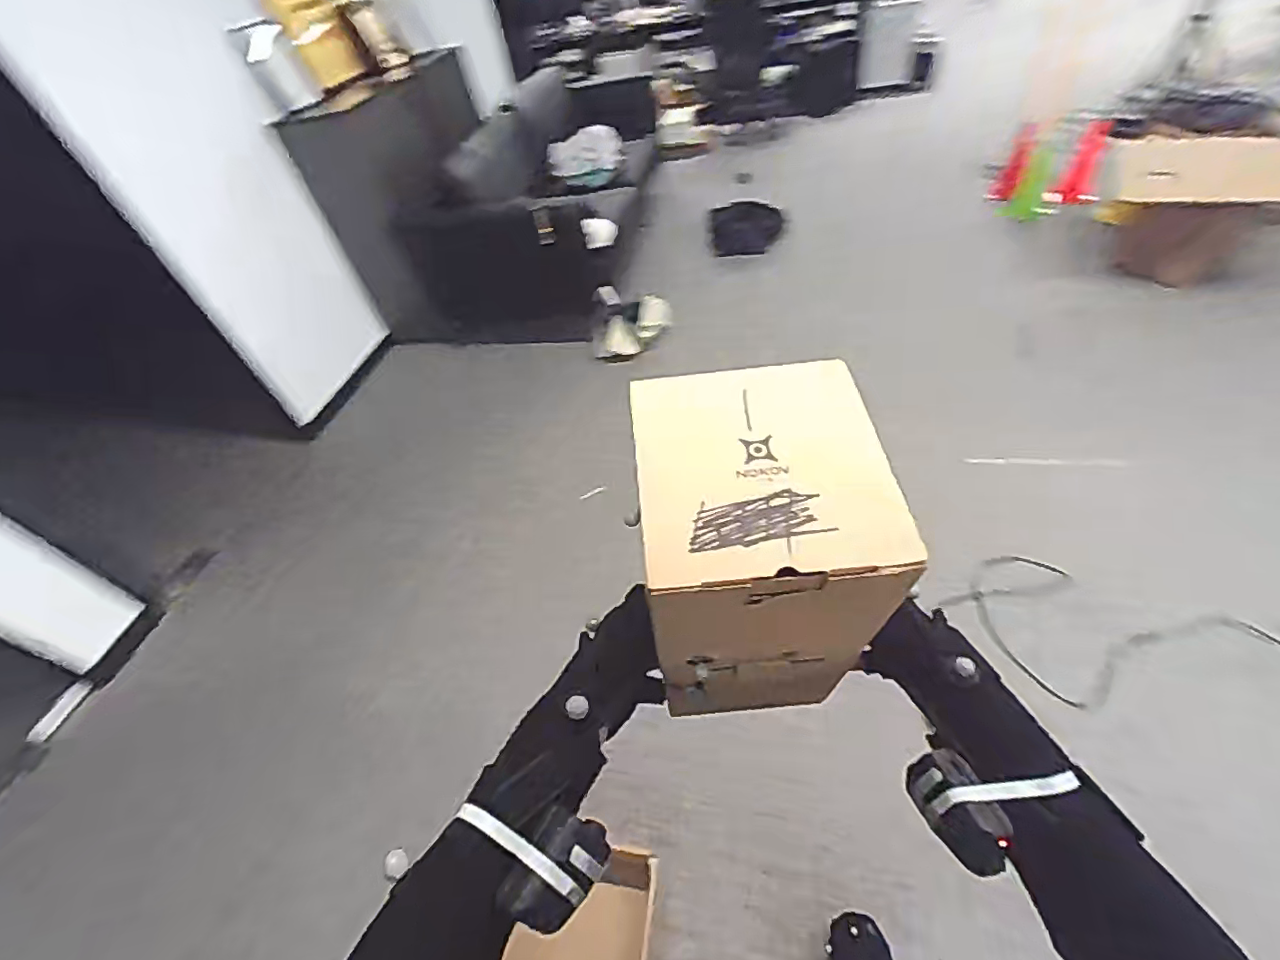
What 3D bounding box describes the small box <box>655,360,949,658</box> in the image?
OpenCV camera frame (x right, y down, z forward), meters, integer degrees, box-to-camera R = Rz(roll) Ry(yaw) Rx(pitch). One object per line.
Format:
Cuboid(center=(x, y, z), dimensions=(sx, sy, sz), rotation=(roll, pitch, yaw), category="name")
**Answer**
Cuboid(center=(0.097, 0.032, 0.416), dimensions=(0.168, 0.176, 0.179), rotation=(-2, 56, 2), category="small box")
